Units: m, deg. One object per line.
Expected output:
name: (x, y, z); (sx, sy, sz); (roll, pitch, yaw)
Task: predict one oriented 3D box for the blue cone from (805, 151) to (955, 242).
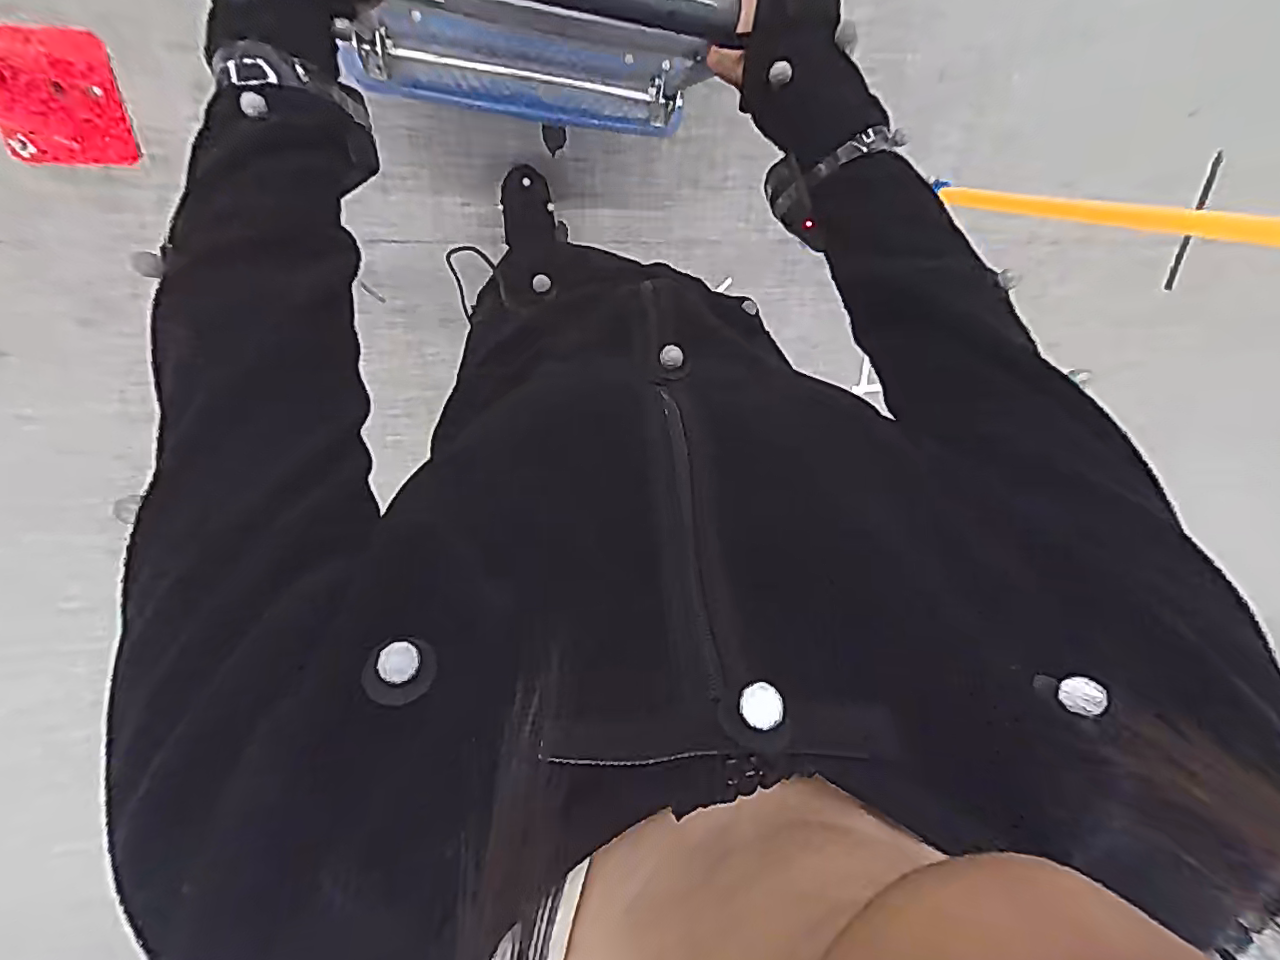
blue cone: (0.524, -0.618, 1.164); (0.193, 0.380, 0.192); (-8, 116, -11)
